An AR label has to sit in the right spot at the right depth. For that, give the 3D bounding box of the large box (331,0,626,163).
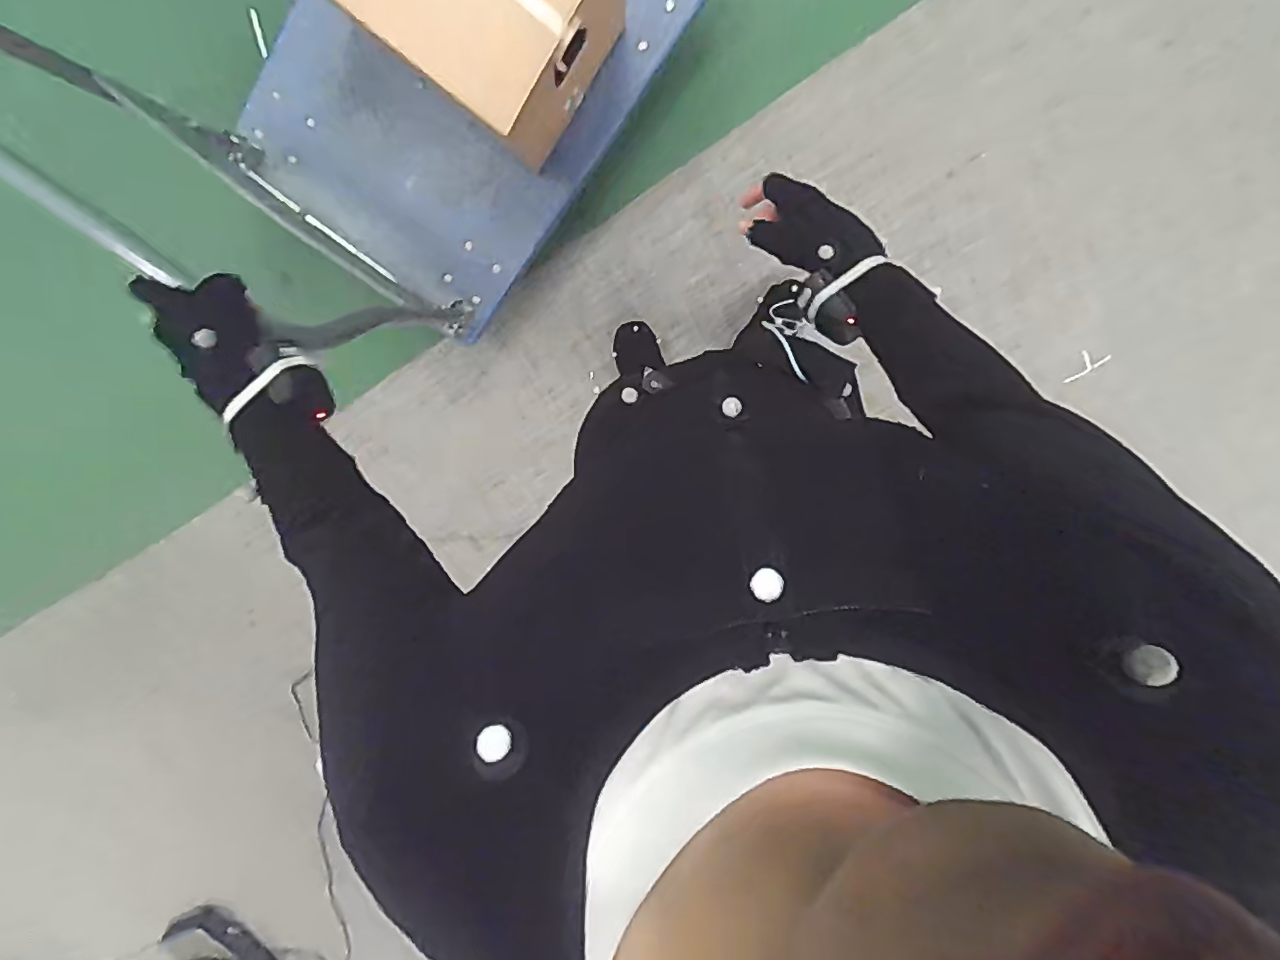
[{"bbox_3d":[-0.270,-0.797,0.861,0.408,0.320,0.320,34,106,-12],"label":"large box"}]
